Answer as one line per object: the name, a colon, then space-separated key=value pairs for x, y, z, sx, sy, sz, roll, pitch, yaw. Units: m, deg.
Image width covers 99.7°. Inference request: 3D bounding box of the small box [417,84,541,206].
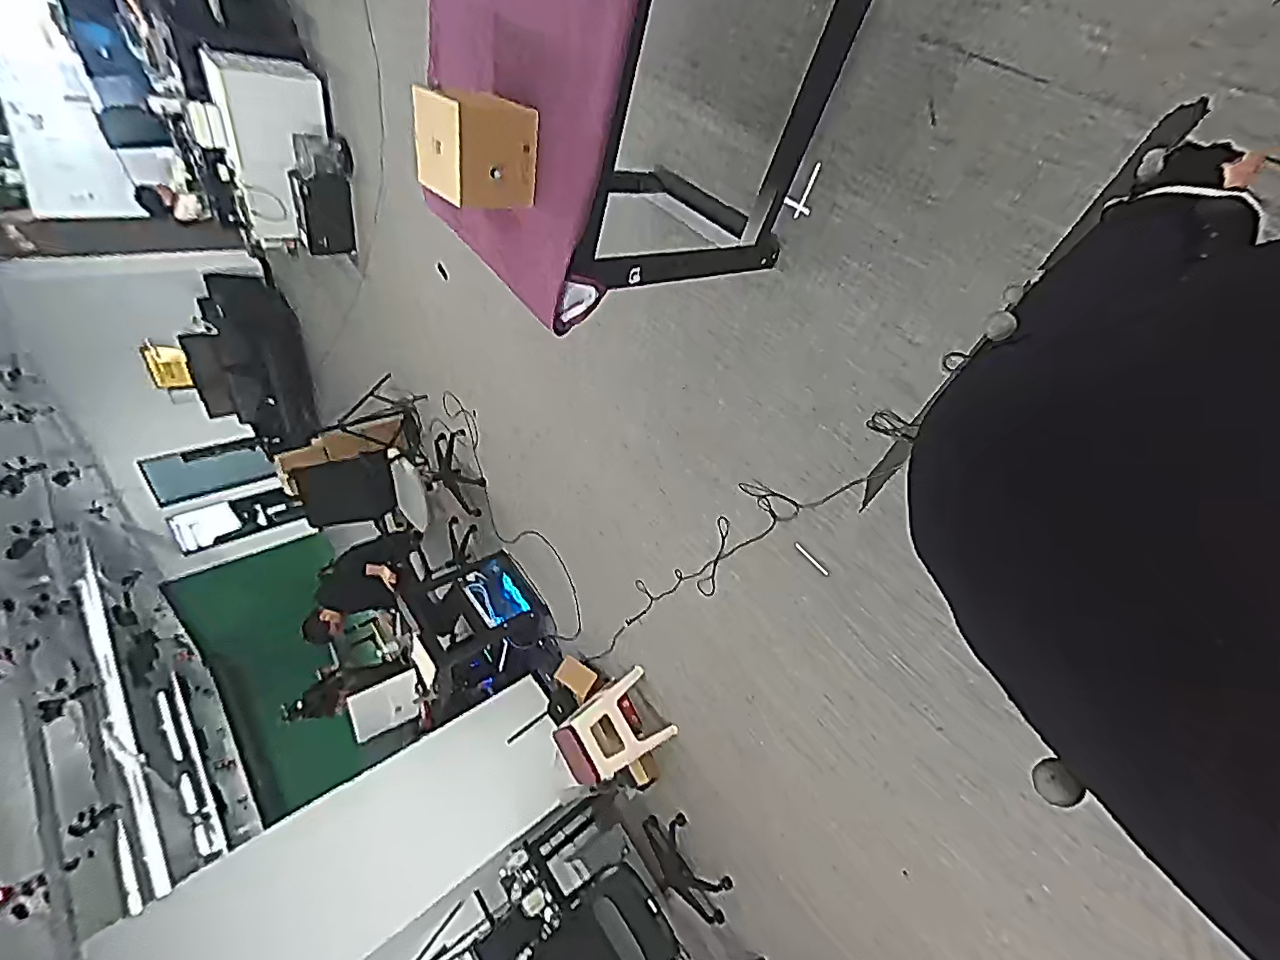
small box: x=-0.307 y=-0.646 z=1.047 sx=0.179 sy=0.176 sz=0.168 roll=41 pitch=136 yaw=31
